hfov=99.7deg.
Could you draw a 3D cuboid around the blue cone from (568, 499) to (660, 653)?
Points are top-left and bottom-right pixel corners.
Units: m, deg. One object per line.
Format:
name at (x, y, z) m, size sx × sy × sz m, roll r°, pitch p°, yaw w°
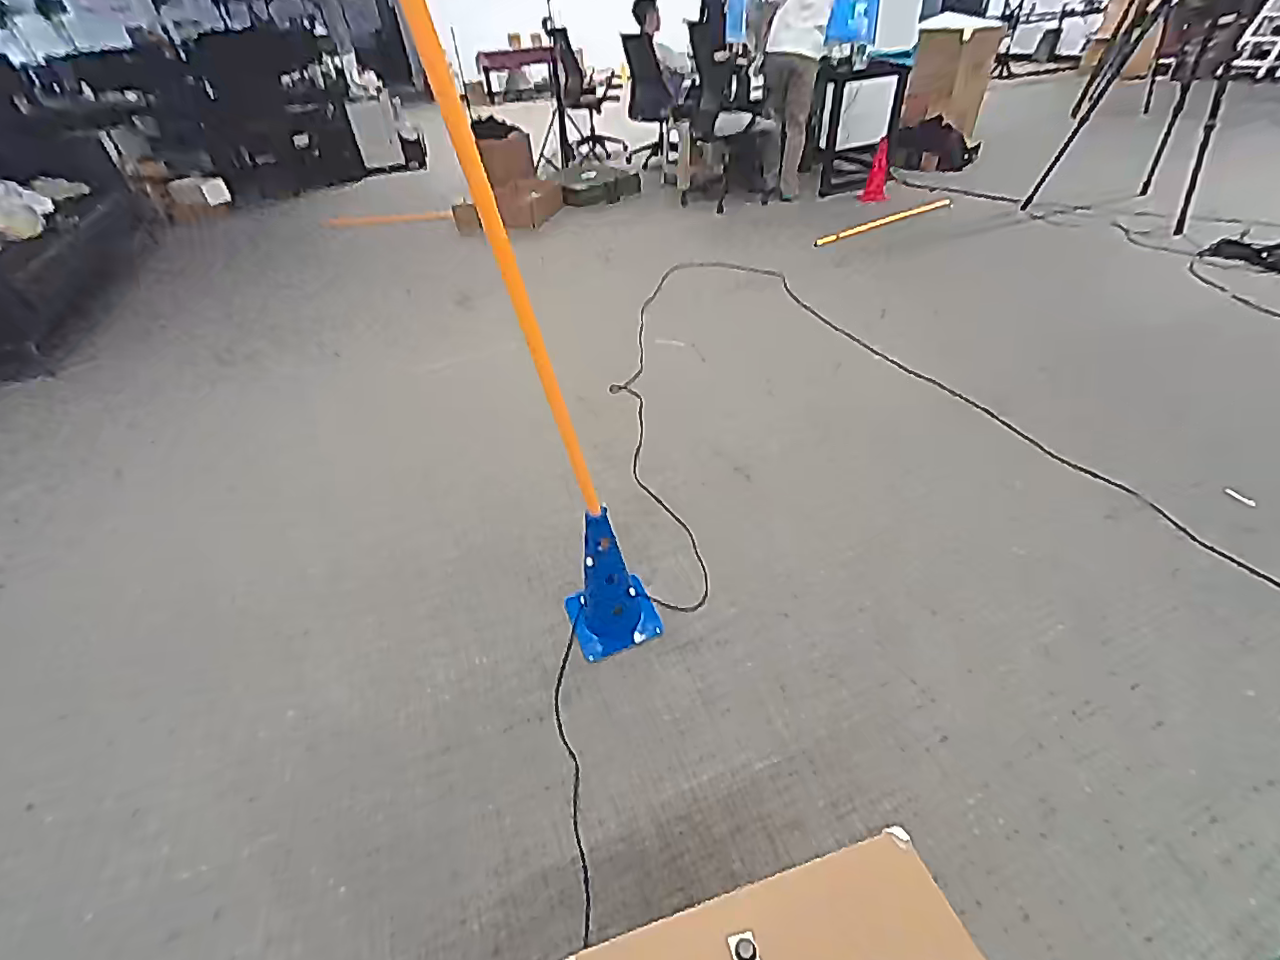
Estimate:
blue cone at (-0.077, 0.195, 1.199) m, size 0.193 × 0.380 × 0.192 m, roll -21°, pitch 43°, yaw -15°
